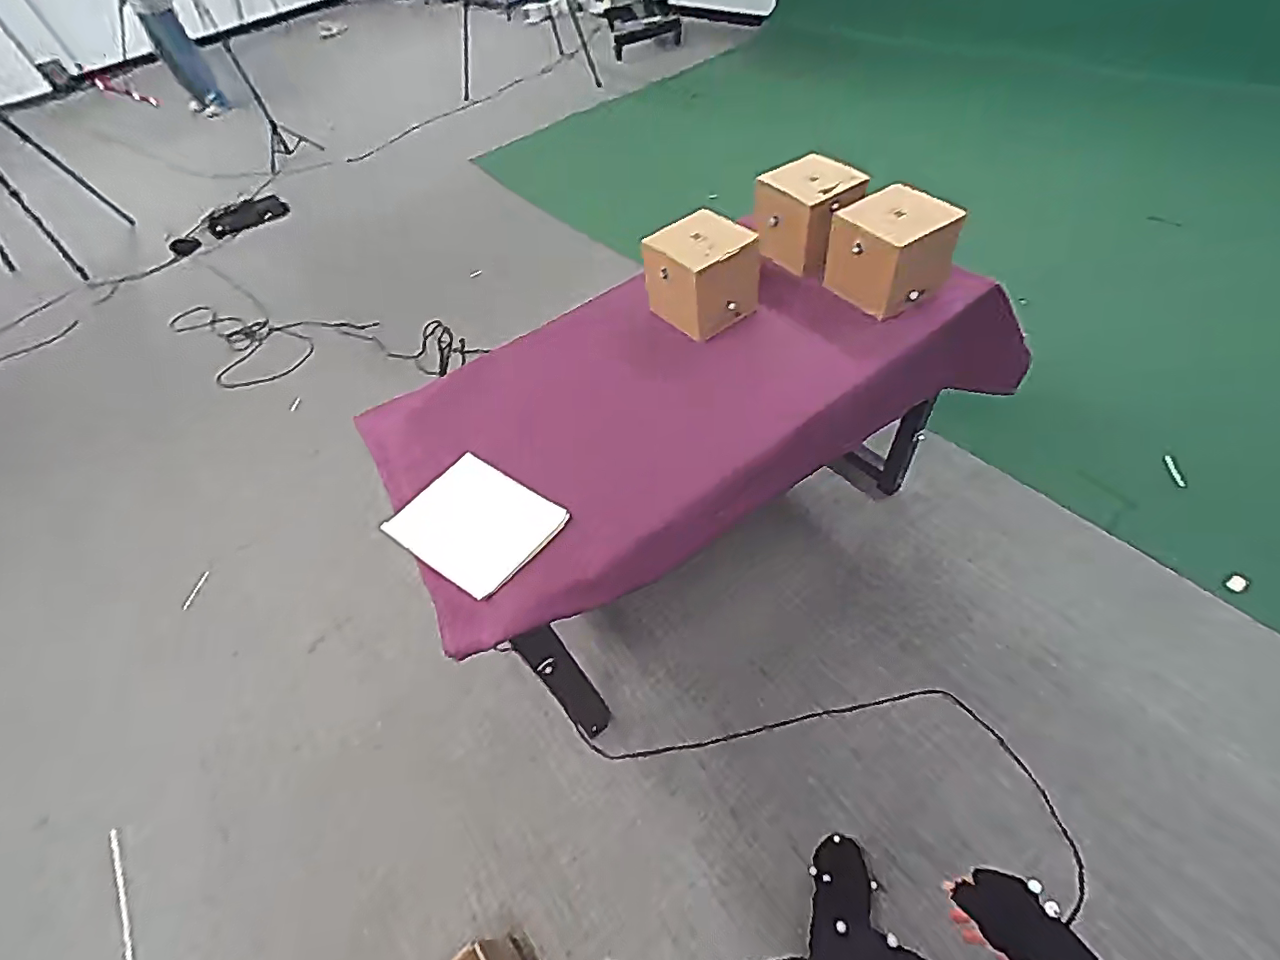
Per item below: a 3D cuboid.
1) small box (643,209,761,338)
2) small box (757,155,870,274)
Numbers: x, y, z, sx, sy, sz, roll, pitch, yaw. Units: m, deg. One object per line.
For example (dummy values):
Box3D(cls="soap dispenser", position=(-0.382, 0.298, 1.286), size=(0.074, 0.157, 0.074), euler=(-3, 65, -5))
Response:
Box3D(cls="small box", position=(0.127, -0.427, 1.125), size=(0.168, 0.176, 0.179), euler=(-34, 56, -16))
Box3D(cls="small box", position=(0.377, -0.593, 1.214), size=(0.168, 0.176, 0.179), euler=(-30, 54, -13))
